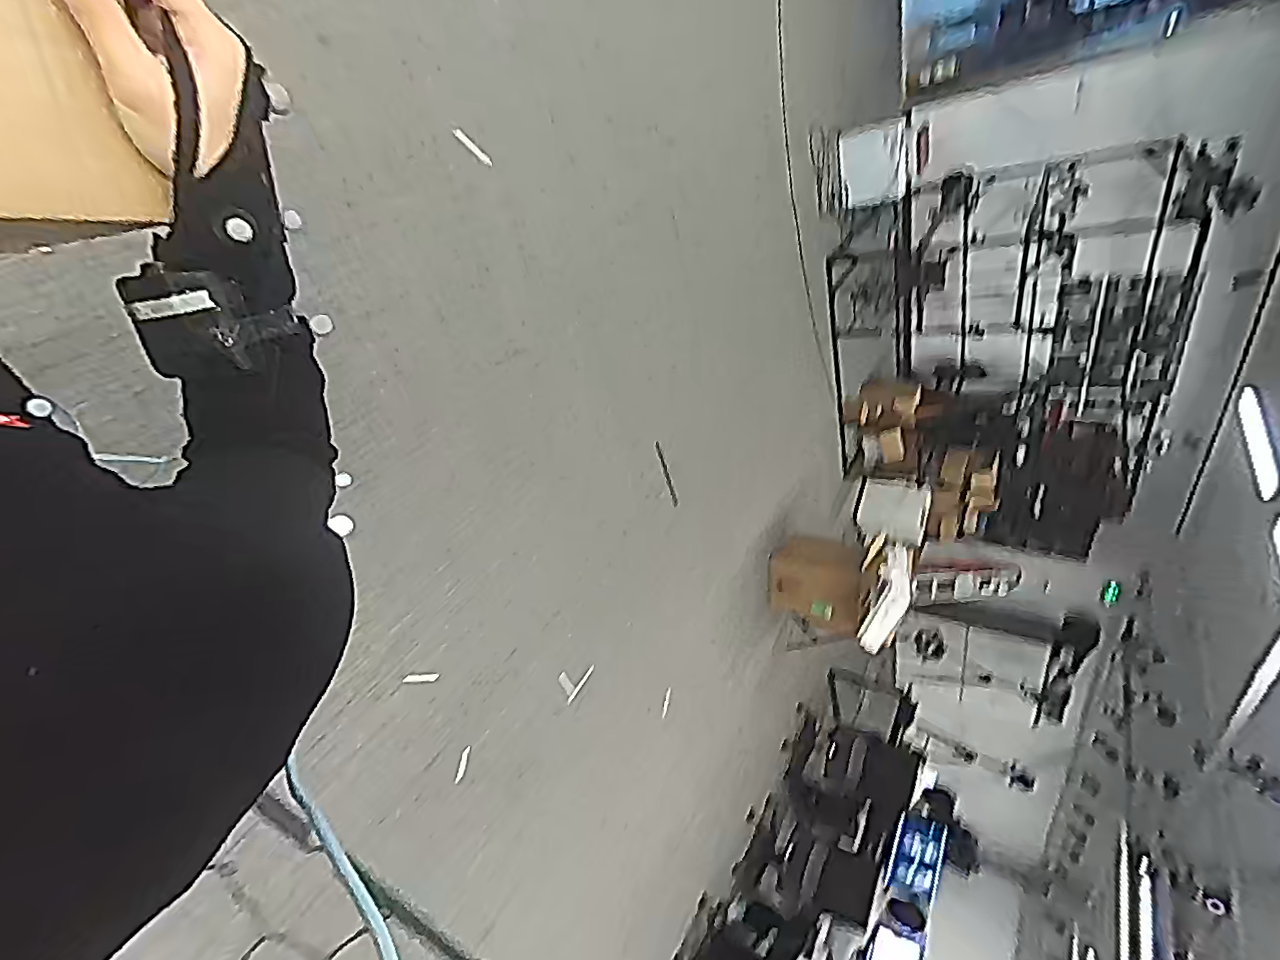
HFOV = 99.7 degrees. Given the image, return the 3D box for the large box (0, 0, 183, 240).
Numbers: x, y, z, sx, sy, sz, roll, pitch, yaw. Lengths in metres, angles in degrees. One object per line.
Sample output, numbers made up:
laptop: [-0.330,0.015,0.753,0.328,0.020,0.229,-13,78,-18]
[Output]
large box: [-0.493,-0.250,0.166,0.408,0.320,0.320,-34,129,-54]
